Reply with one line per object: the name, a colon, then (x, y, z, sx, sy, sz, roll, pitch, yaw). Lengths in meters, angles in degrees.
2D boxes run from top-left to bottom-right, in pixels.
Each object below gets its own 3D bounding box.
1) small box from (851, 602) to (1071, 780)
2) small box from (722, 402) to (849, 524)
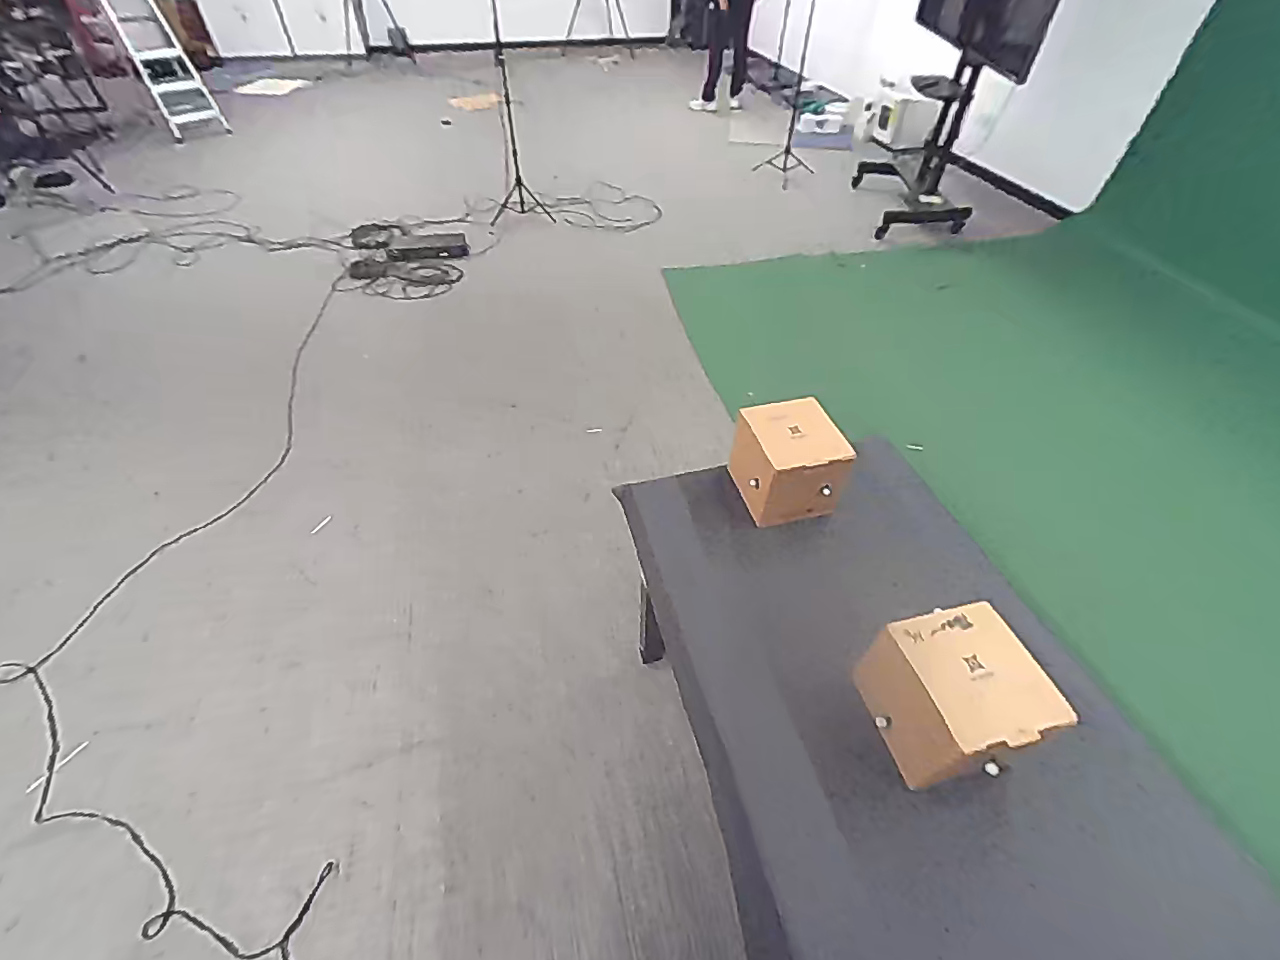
small box: (0.436, 0.305, 0.768, 0.168, 0.176, 0.179, -9, 48, -12)
small box: (0.279, -0.029, 1.078, 0.168, 0.176, 0.179, -9, 47, -15)
